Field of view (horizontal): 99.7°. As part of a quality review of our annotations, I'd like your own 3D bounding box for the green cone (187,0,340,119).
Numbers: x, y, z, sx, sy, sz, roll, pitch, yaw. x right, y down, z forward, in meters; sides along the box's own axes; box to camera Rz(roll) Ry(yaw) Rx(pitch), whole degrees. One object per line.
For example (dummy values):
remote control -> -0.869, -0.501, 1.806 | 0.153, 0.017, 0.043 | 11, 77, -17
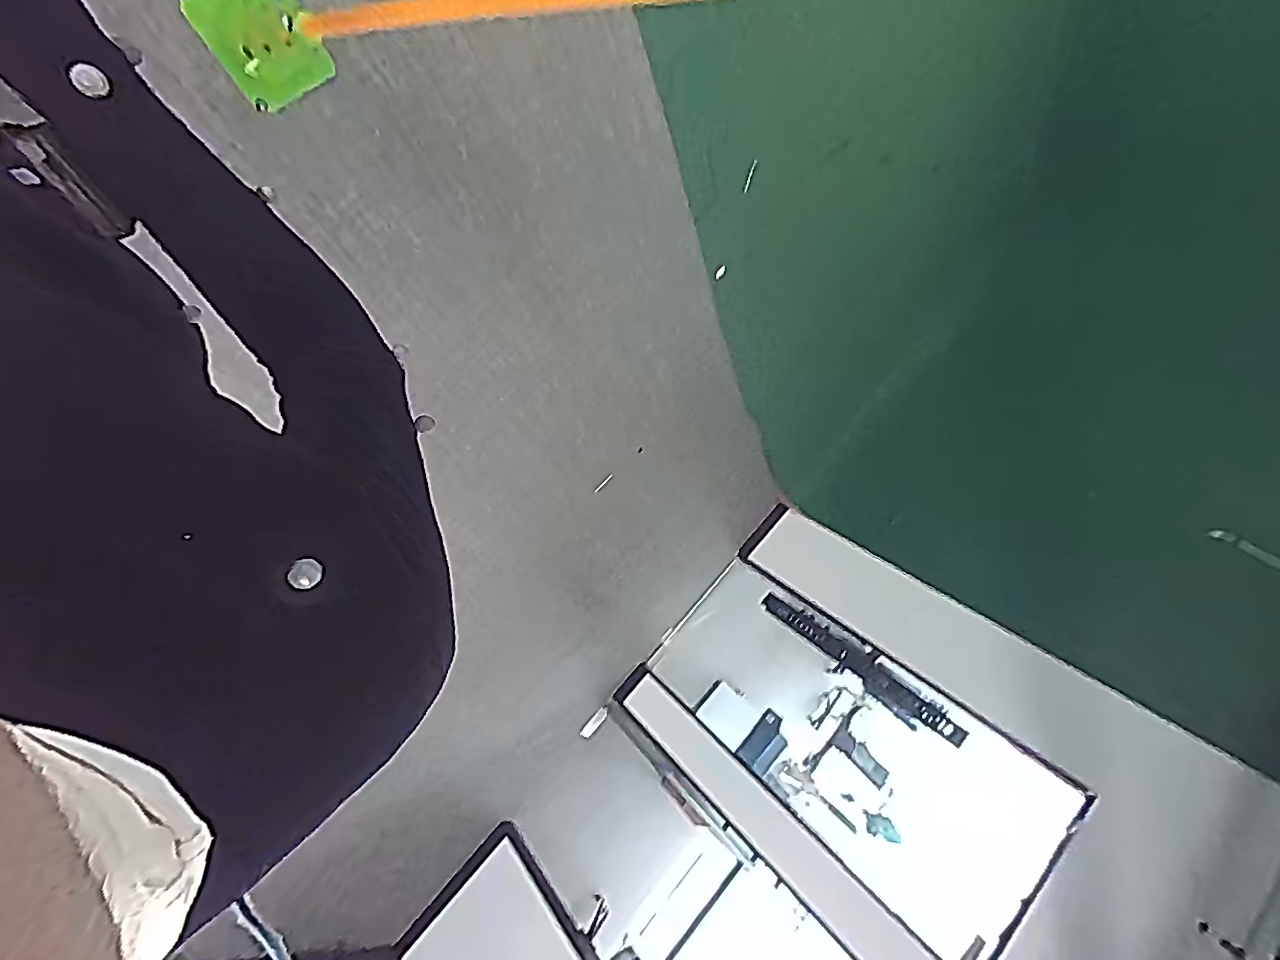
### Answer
green cone -> -0.643, -0.814, 0.993 | 0.200, 0.368, 0.202 | -46, 139, -14
